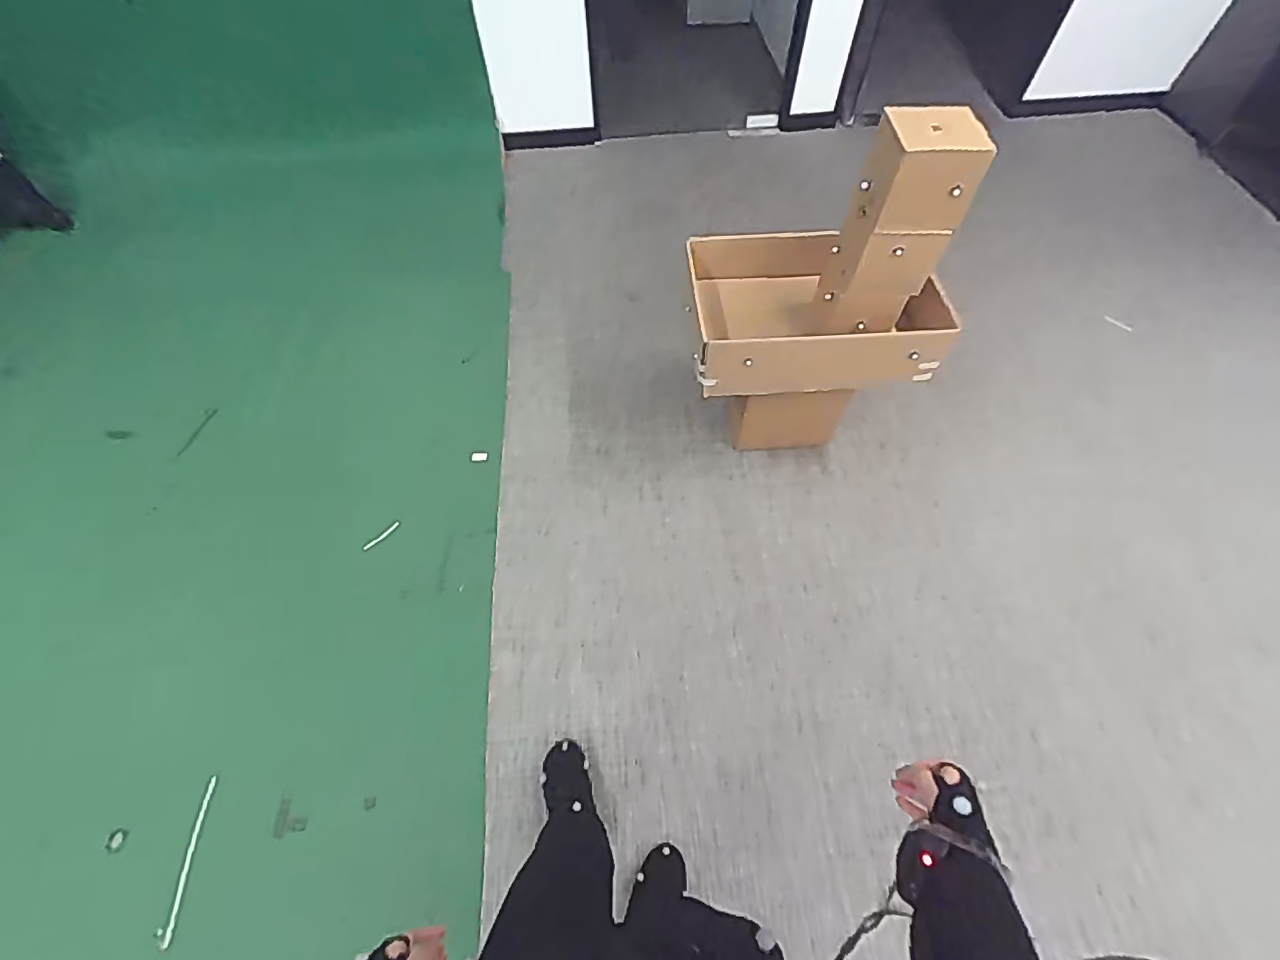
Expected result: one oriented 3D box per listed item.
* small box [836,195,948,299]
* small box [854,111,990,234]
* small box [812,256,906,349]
[{"bbox_3d":[0.570,-0.540,1.257,0.179,0.176,0.168,0,59,0],"label":"small box"},{"bbox_3d":[0.573,-0.633,1.123,0.179,0.176,0.168,-1,58,0],"label":"small box"},{"bbox_3d":[0.557,-0.455,1.398,0.168,0.176,0.179,1,58,1],"label":"small box"}]
